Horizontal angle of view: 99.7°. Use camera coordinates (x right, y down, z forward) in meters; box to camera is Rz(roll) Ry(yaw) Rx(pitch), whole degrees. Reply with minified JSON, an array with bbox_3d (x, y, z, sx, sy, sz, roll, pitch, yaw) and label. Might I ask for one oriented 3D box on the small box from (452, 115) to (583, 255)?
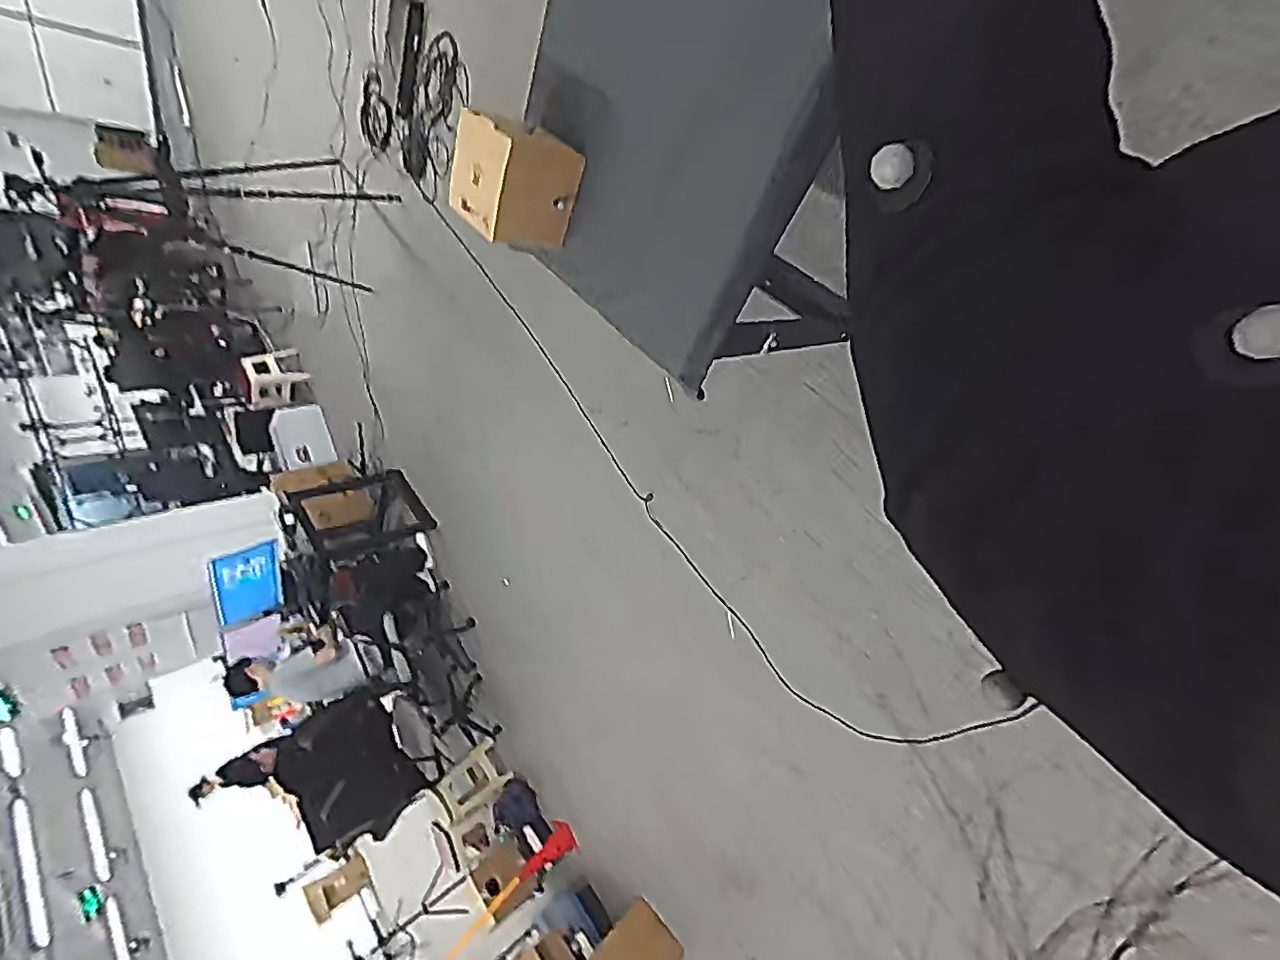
[{"bbox_3d":[-0.233,-0.558,1.043,0.168,0.176,0.179,45,129,25],"label":"small box"}]
